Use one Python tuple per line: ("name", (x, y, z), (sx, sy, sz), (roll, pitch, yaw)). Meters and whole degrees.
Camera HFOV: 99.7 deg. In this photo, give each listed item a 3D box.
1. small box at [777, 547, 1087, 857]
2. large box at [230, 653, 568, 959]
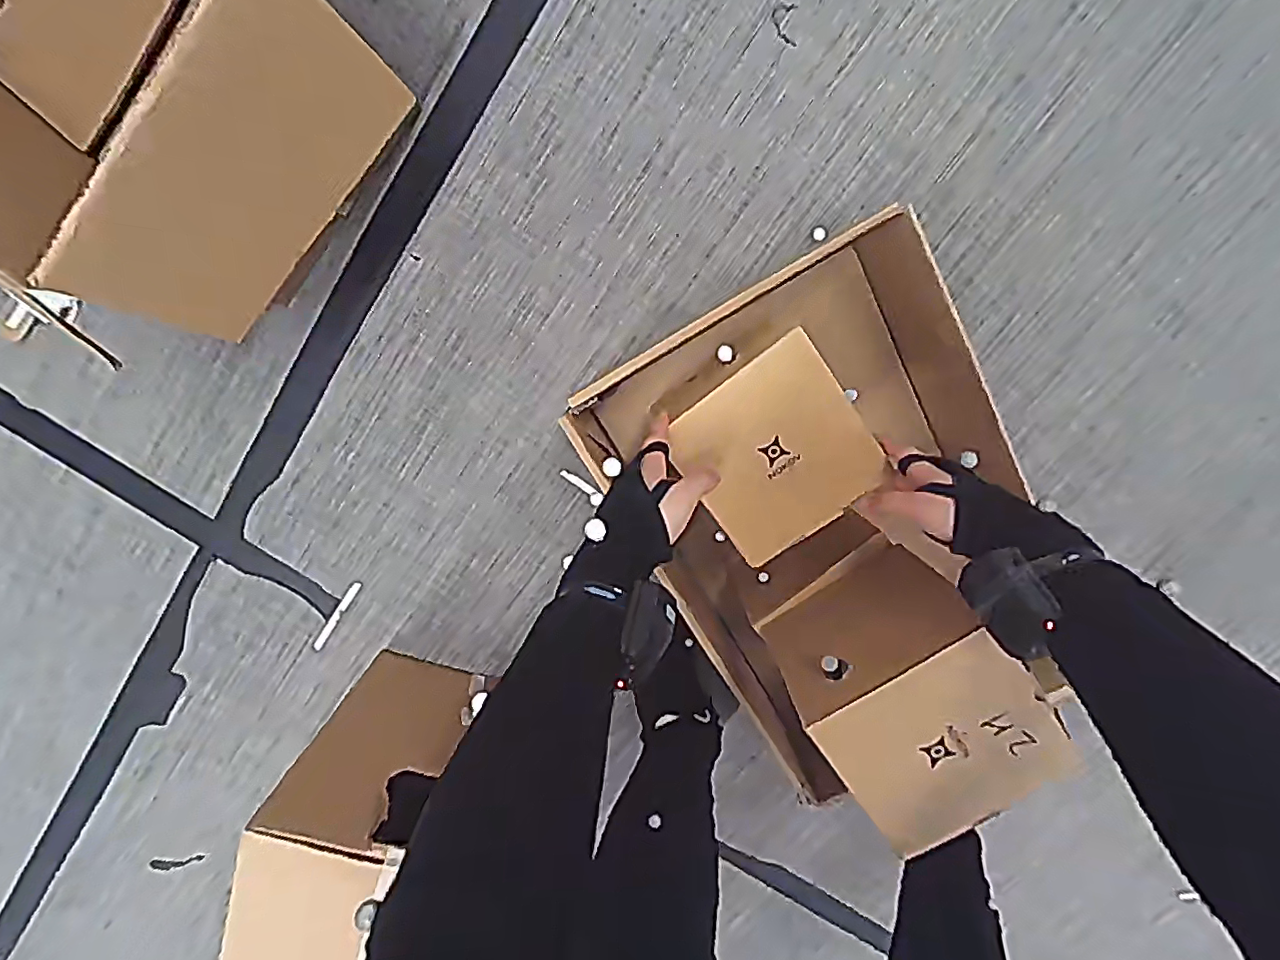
("small box", (0.249, 0.194, 0.515), (0.179, 0.176, 0.168), (-34, 101, 7))
("large box", (-0.307, 0.520, 0.749), (0.320, 0.320, 0.408), (17, 106, -5))
